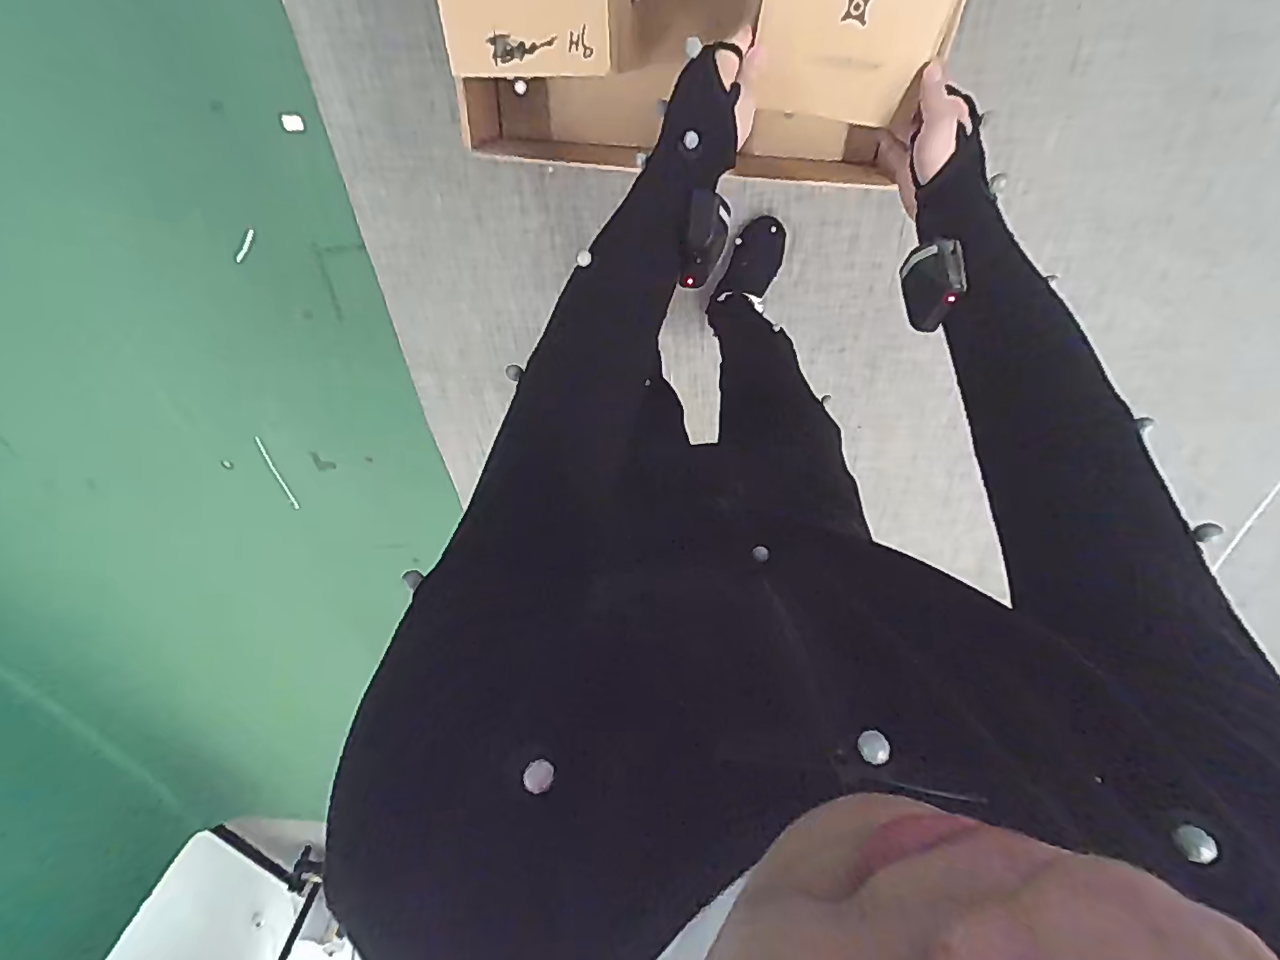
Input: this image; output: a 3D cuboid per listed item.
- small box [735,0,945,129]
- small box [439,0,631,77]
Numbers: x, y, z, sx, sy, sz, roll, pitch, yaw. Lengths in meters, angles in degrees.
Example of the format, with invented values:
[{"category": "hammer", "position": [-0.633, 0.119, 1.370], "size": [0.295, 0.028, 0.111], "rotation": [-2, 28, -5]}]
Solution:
[{"category": "small box", "position": [0.190, -0.473, 0.531], "size": [0.168, 0.176, 0.179], "rotation": [9, 133, 1]}, {"category": "small box", "position": [-0.103, -0.529, 0.560], "size": [0.168, 0.176, 0.179], "rotation": [5, 129, 7]}]
